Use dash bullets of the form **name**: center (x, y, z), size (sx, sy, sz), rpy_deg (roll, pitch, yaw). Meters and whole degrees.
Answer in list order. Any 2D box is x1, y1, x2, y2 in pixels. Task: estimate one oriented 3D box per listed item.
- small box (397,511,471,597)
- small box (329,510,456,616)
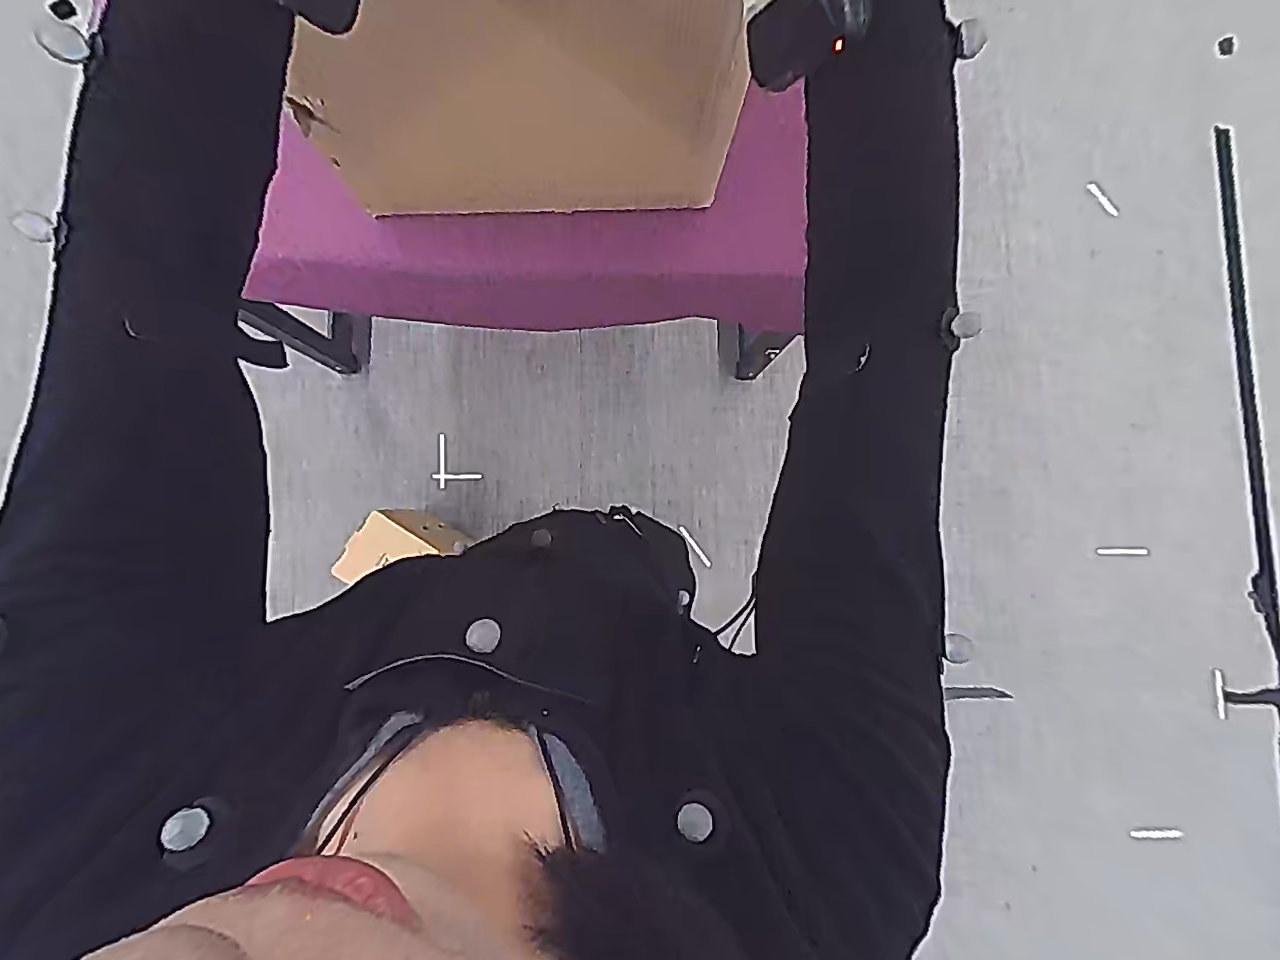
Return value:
- **small box**: center (-0.571, 0.196, 1.407), size (0.179, 0.176, 0.168), rpy_deg (31, 85, -1)
- **small box**: center (-0.558, 0.187, 1.244), size (0.179, 0.176, 0.168), rpy_deg (33, 85, 0)
